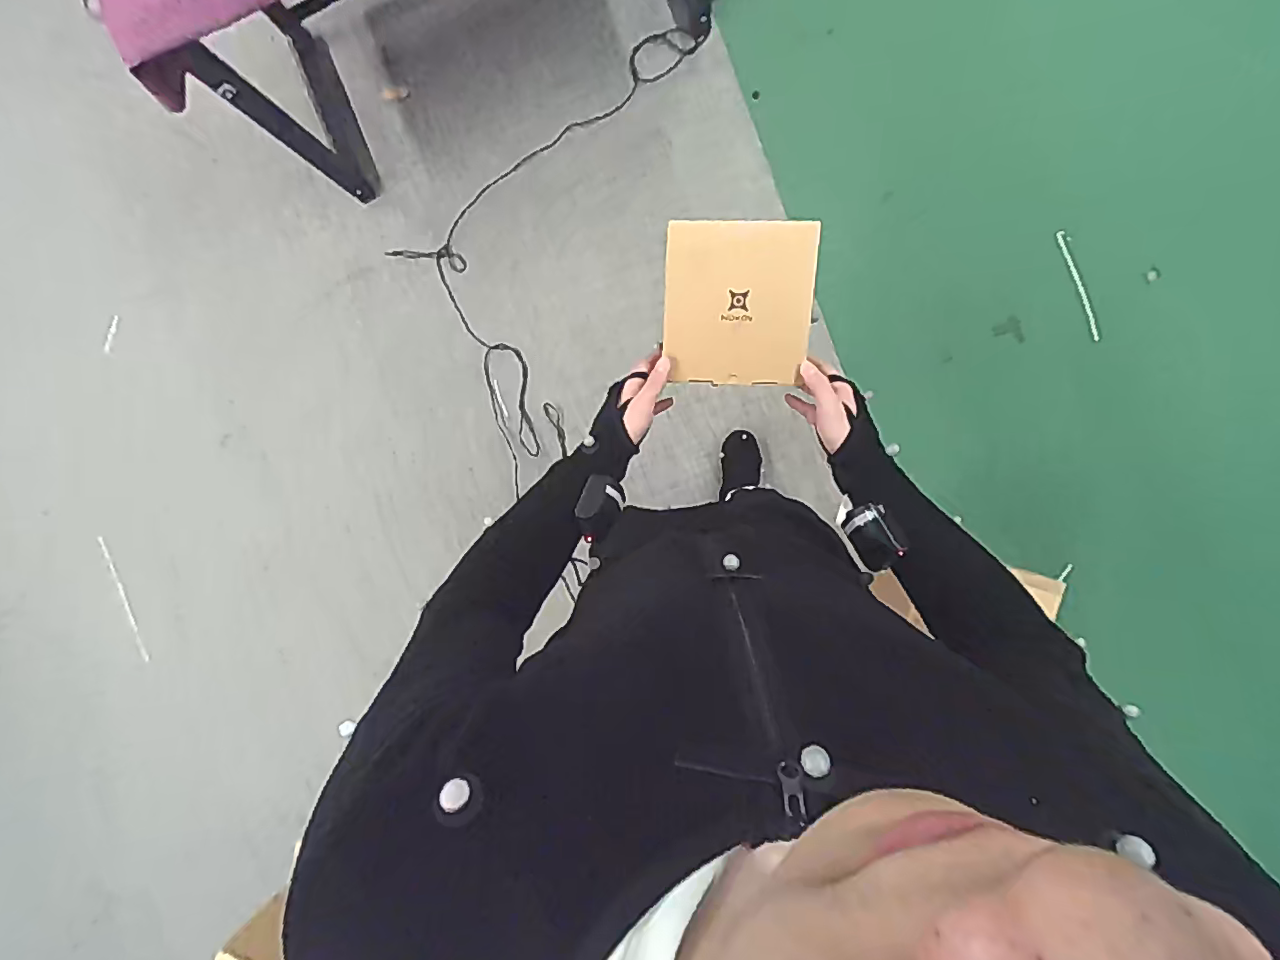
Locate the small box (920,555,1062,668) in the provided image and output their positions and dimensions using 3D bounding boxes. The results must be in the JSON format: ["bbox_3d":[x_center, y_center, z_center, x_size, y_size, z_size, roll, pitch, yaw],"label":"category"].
[{"bbox_3d":[0.741,0.271,1.166,0.179,0.176,0.168,19,95,5],"label":"small box"}]

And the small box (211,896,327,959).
[{"bbox_3d":[-0.850,1.107,1.219,0.168,0.176,0.179,23,93,5],"label":"small box"}]

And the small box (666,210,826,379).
[{"bbox_3d":[0.118,-0.224,0.673,0.168,0.176,0.179,2,107,3],"label":"small box"}]
